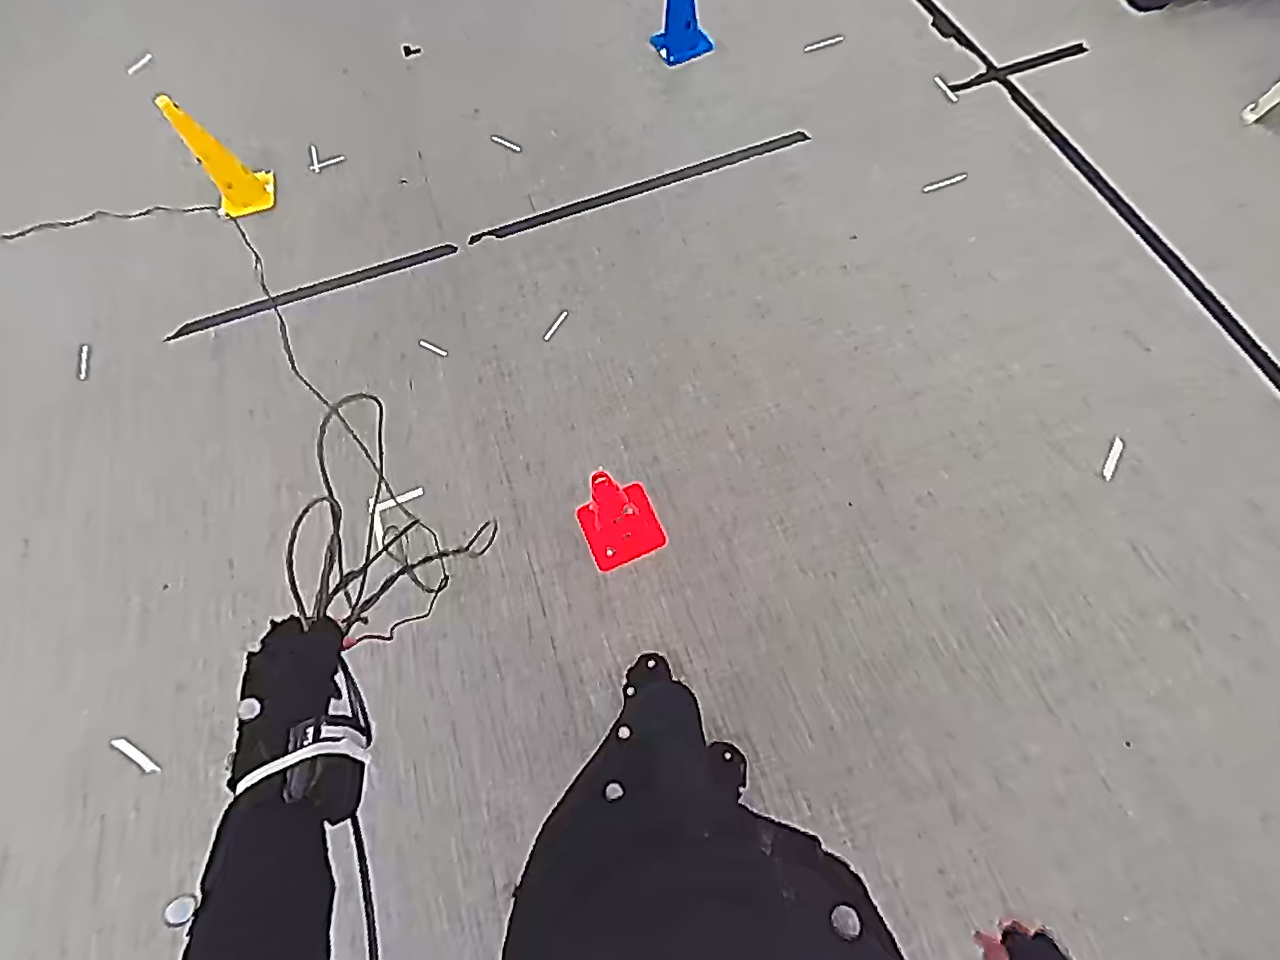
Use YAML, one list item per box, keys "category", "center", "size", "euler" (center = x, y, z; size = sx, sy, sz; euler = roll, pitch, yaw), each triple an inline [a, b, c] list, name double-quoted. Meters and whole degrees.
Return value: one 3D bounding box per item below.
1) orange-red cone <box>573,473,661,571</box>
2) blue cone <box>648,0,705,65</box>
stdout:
- category: "orange-red cone"
  center: [-0.075, 0.063, 1.279]
  size: [0.199, 0.360, 0.198]
  euler: [-23, 69, -5]
- category: "blue cone"
  center: [0.125, -1.762, 1.960]
  size: [0.193, 0.380, 0.192]
  euler: [-24, 69, -4]
